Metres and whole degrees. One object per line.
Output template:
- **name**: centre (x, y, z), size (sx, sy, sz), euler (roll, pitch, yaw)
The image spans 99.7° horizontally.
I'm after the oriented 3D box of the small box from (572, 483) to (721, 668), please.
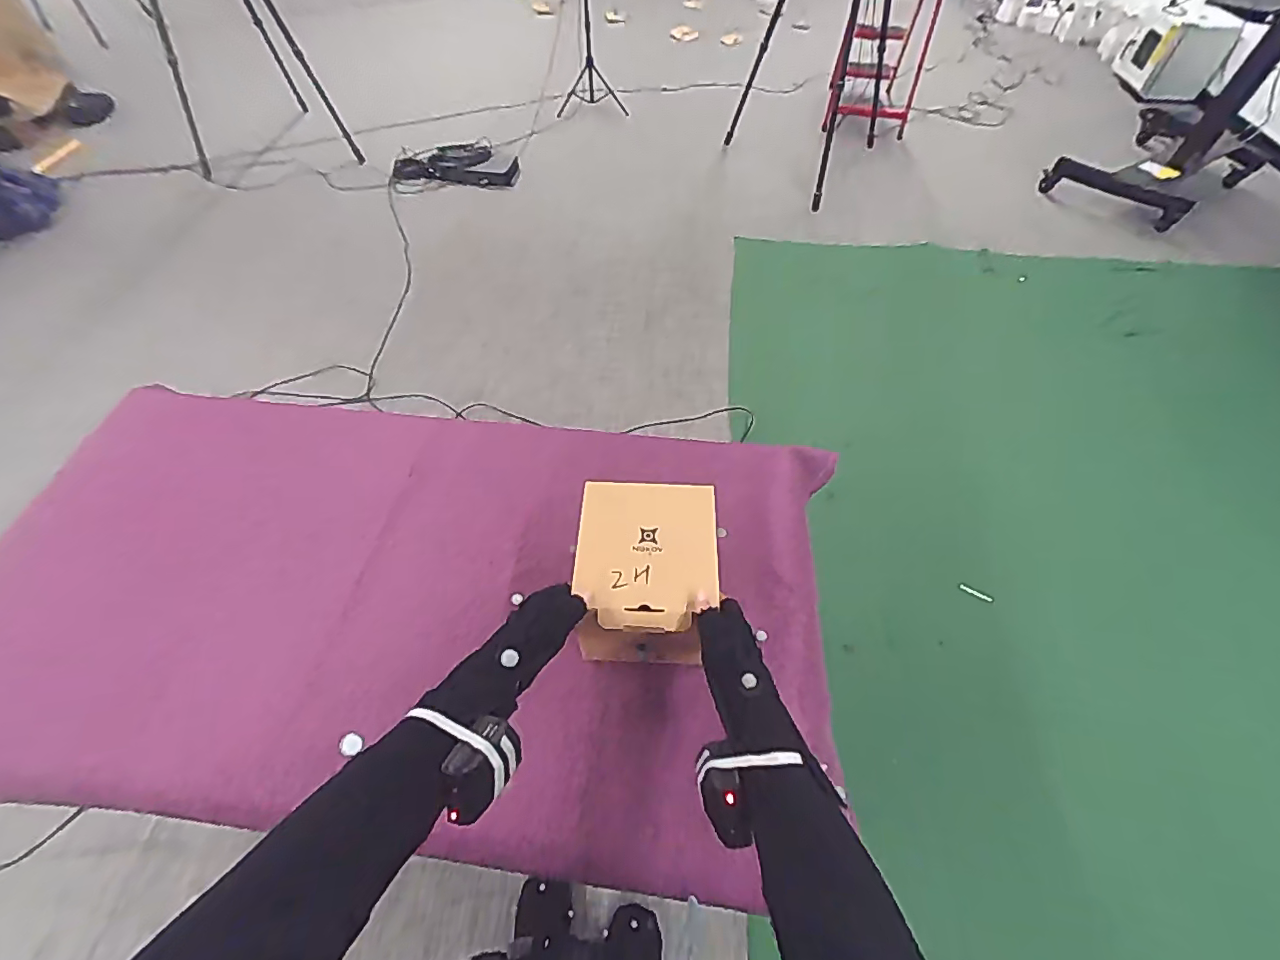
- **small box**: centre (0.010, 0.125, 0.698), size (0.168, 0.176, 0.179), euler (2, 53, 2)
